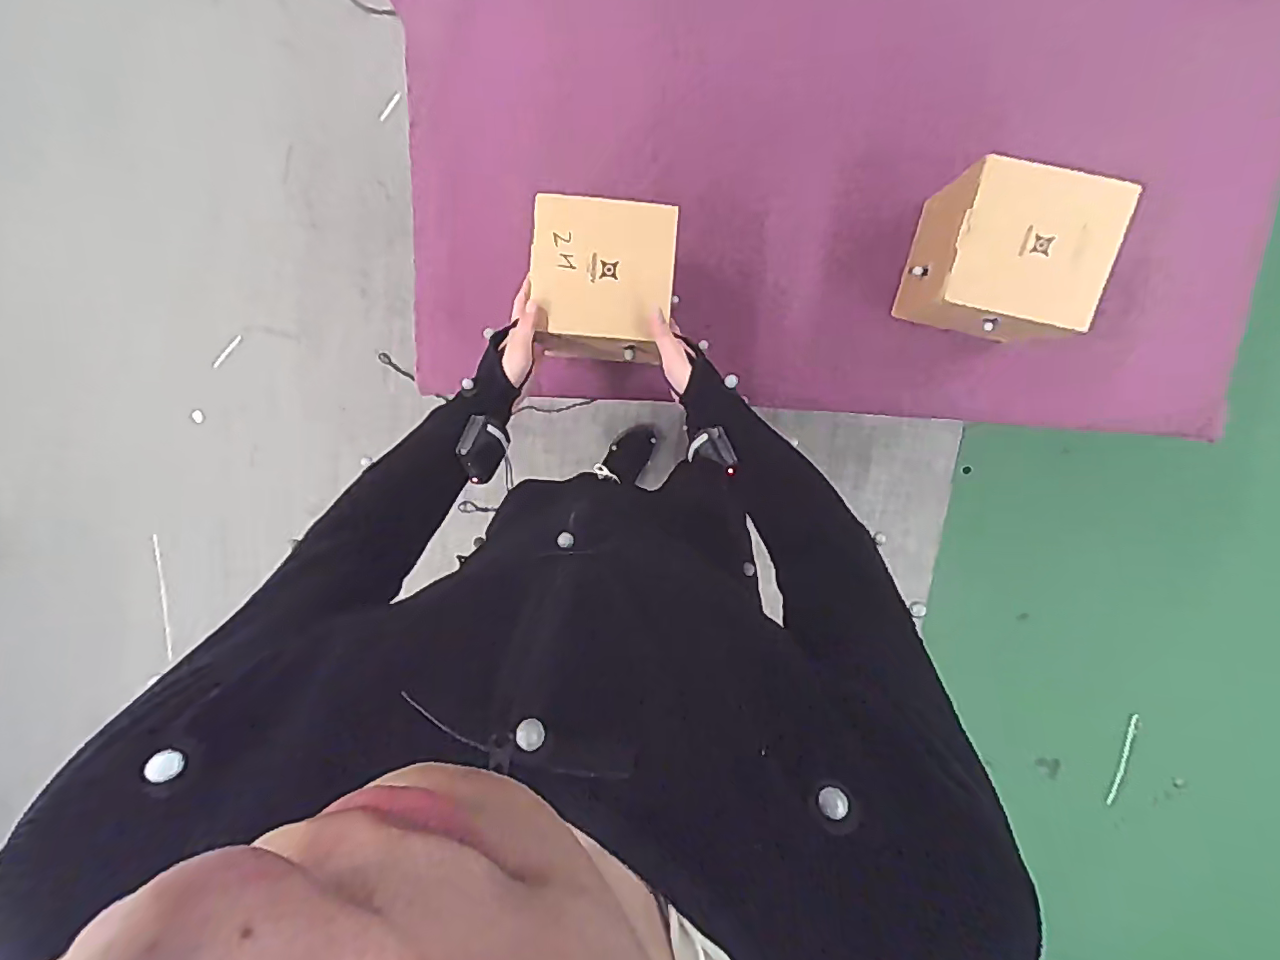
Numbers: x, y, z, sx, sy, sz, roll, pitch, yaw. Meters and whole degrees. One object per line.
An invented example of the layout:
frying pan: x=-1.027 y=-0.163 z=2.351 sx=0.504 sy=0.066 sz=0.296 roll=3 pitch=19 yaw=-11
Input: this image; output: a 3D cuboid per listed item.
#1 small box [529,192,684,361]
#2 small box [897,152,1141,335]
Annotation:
small box: x=-0.043 y=-0.259 z=0.730 sx=0.179 sy=0.176 sz=0.168 roll=5 pitch=94 yaw=-2
small box: x=0.467 y=-0.290 z=0.702 sx=0.179 sy=0.176 sz=0.168 roll=14 pitch=102 yaw=2
